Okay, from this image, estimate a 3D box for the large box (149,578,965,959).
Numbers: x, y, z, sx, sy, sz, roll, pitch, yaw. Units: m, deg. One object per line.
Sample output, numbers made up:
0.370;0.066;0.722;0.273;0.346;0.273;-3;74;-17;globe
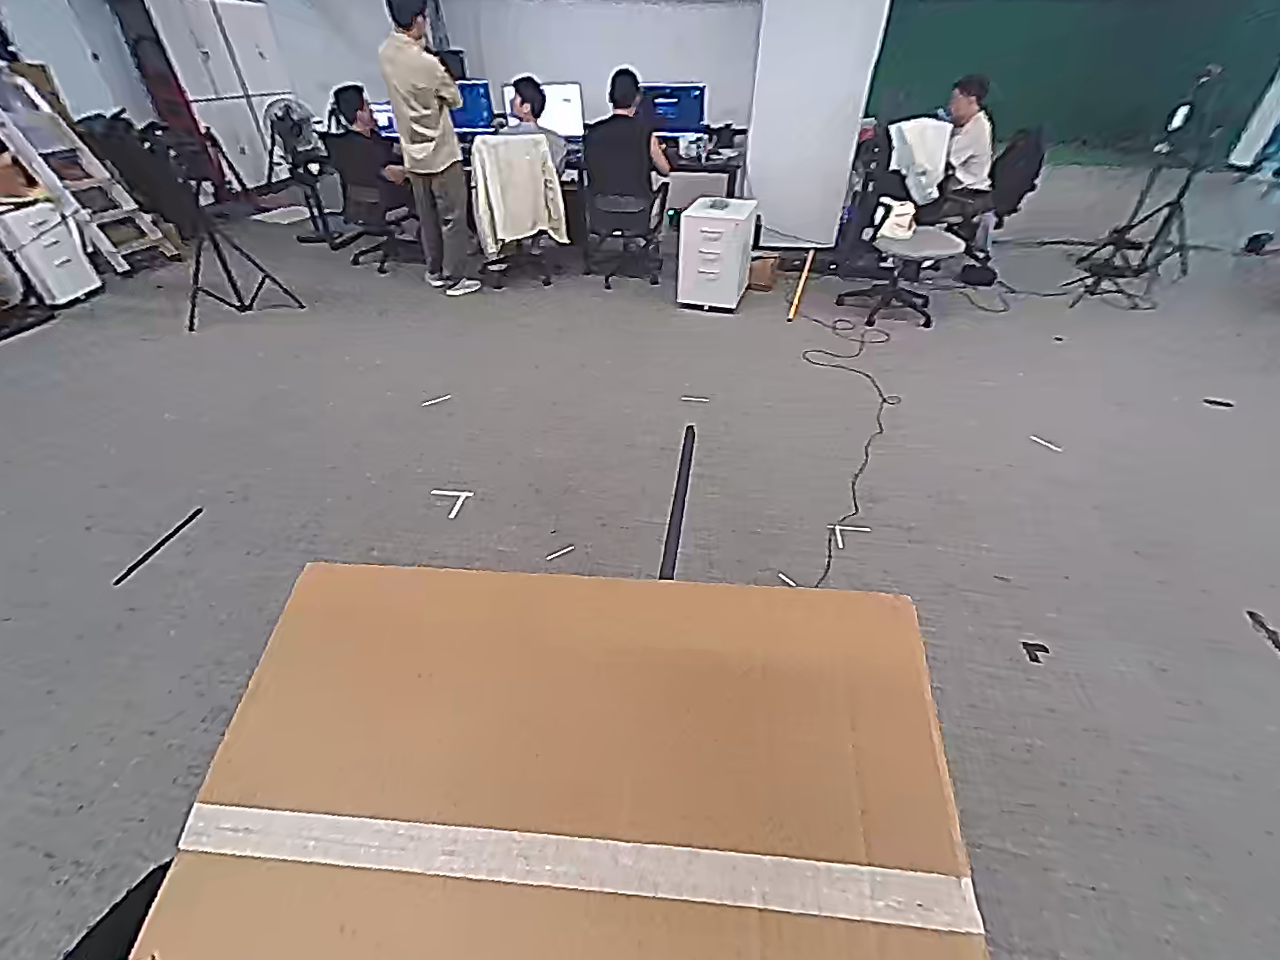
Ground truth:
-0.035;0.285;0.405;0.408;0.320;0.320;2;57;6;large box
